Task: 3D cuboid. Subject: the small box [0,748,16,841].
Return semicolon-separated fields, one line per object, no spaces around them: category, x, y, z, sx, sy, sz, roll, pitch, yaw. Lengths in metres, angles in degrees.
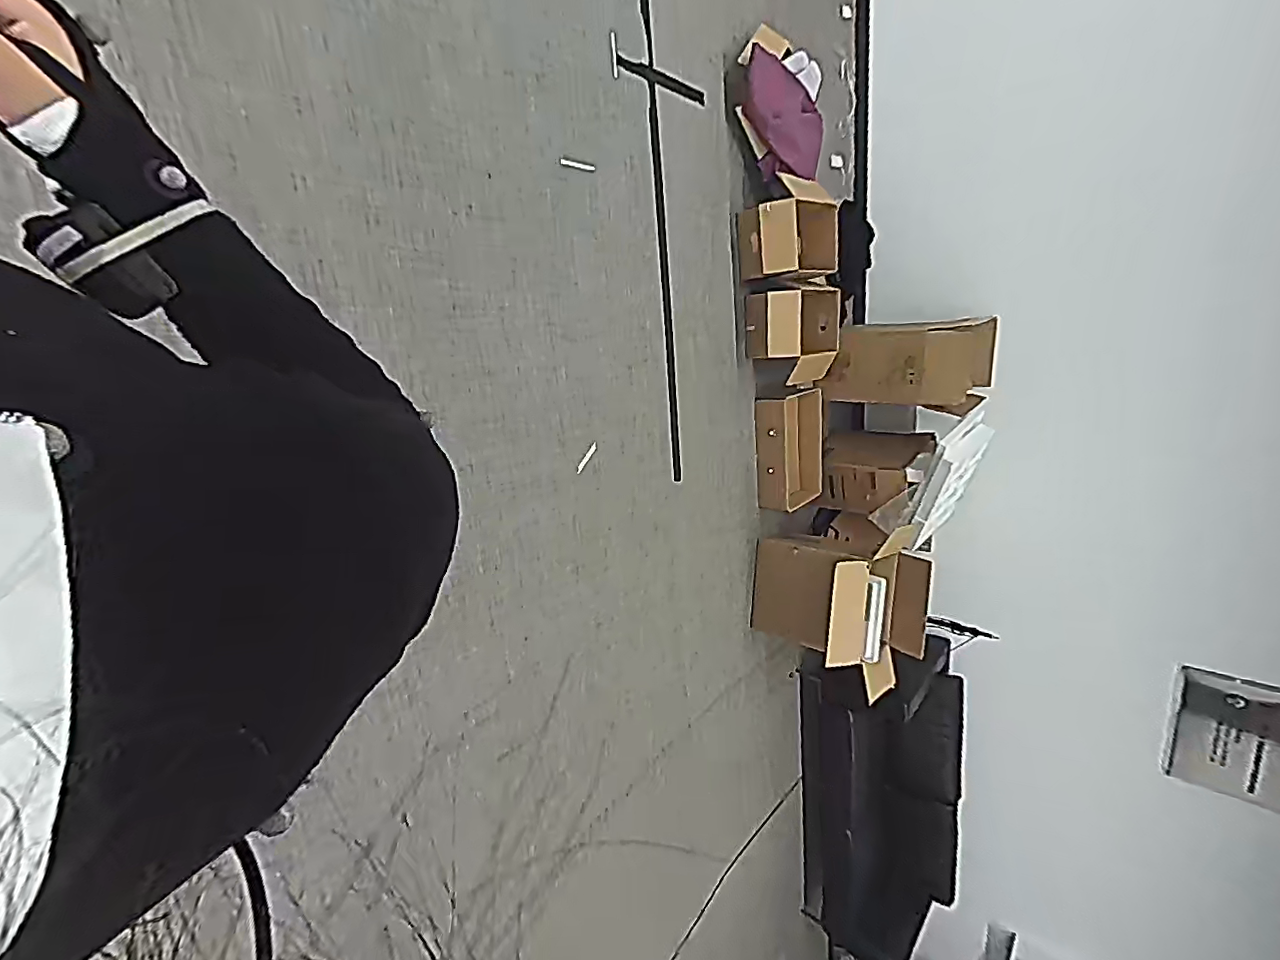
small box;-1.006;0.433;0.737;0.168;0.176;0.179;-26;115;-43

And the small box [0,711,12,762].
small box;-1.132;0.416;0.840;0.168;0.176;0.179;-22;112;-44
